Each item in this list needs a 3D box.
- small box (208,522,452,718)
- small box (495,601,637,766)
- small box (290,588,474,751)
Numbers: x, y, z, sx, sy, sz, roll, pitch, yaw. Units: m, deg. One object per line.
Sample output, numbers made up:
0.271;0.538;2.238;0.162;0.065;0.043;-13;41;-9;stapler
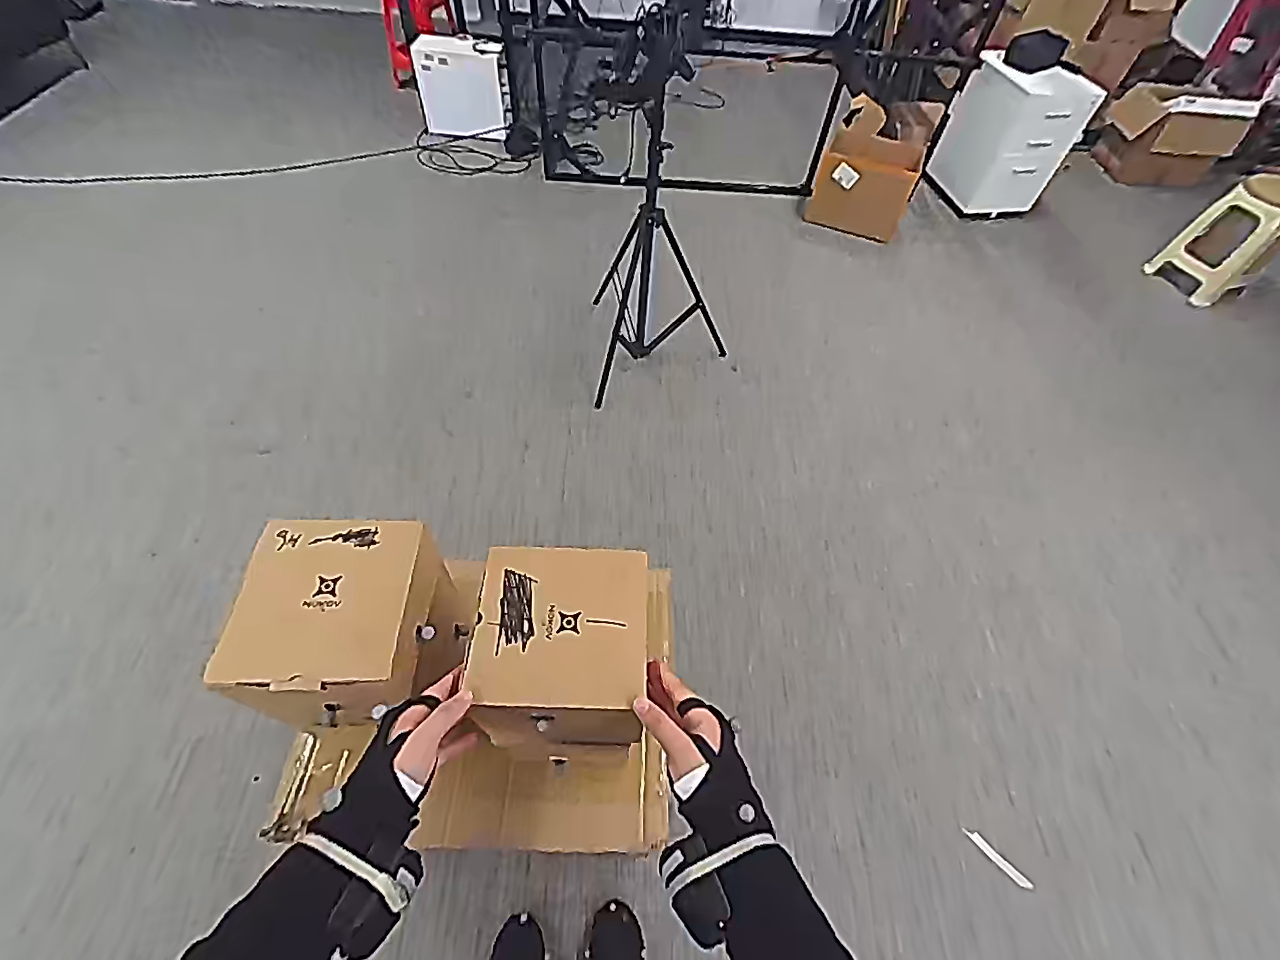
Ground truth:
-0.321;0.163;0.609;0.168;0.176;0.179;1;55;-5;small box
-0.091;0.283;0.747;0.168;0.176;0.179;1;56;0;small box
-0.333;0.260;0.742;0.168;0.176;0.179;2;55;-4;small box
